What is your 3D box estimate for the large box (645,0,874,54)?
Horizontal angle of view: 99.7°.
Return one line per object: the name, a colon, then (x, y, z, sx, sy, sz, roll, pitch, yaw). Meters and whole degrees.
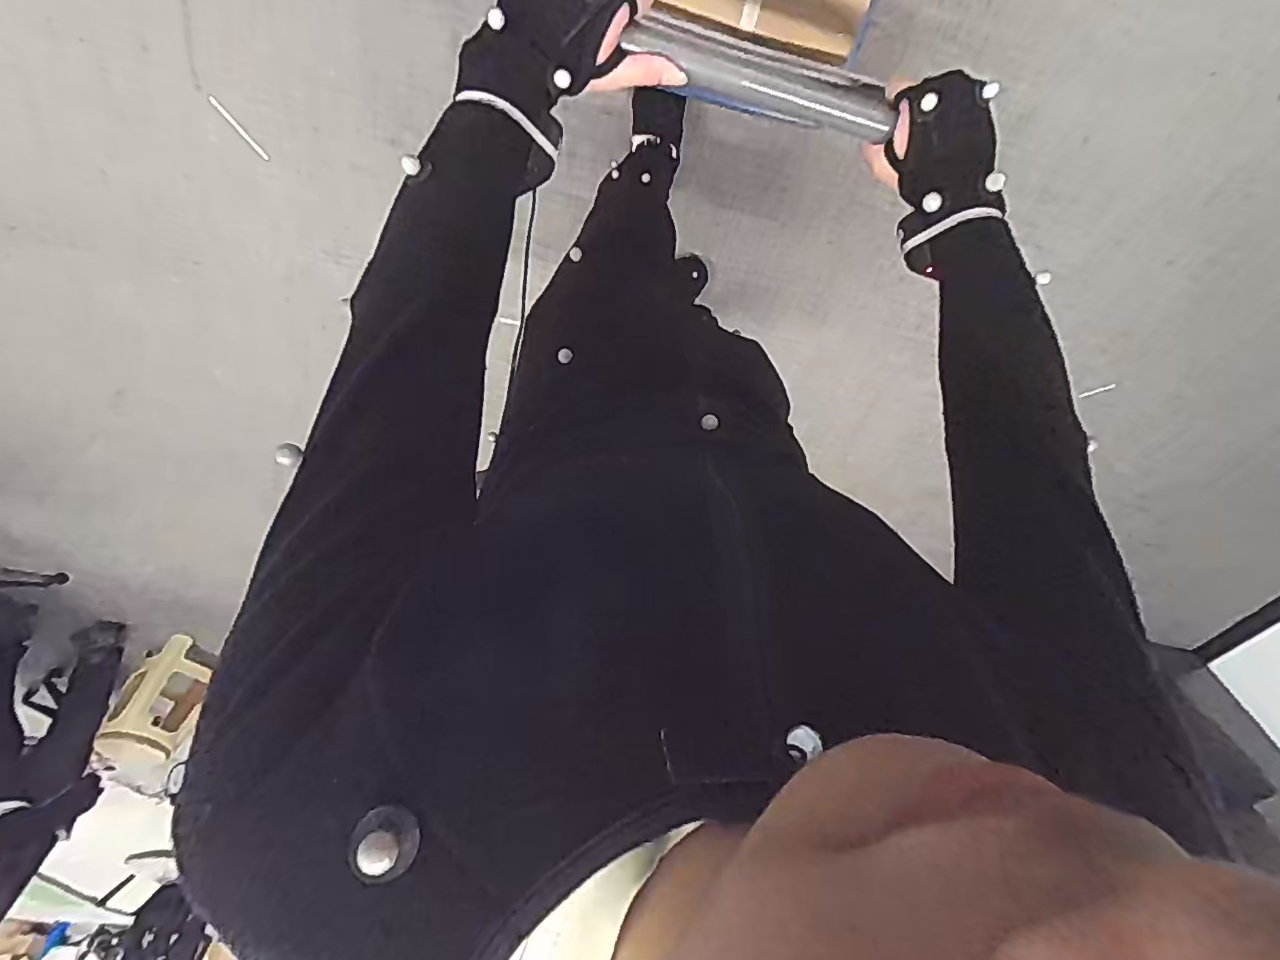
large box: (0.192, -0.859, 0.730, 0.320, 0.320, 0.408, 10, 128, -9)
